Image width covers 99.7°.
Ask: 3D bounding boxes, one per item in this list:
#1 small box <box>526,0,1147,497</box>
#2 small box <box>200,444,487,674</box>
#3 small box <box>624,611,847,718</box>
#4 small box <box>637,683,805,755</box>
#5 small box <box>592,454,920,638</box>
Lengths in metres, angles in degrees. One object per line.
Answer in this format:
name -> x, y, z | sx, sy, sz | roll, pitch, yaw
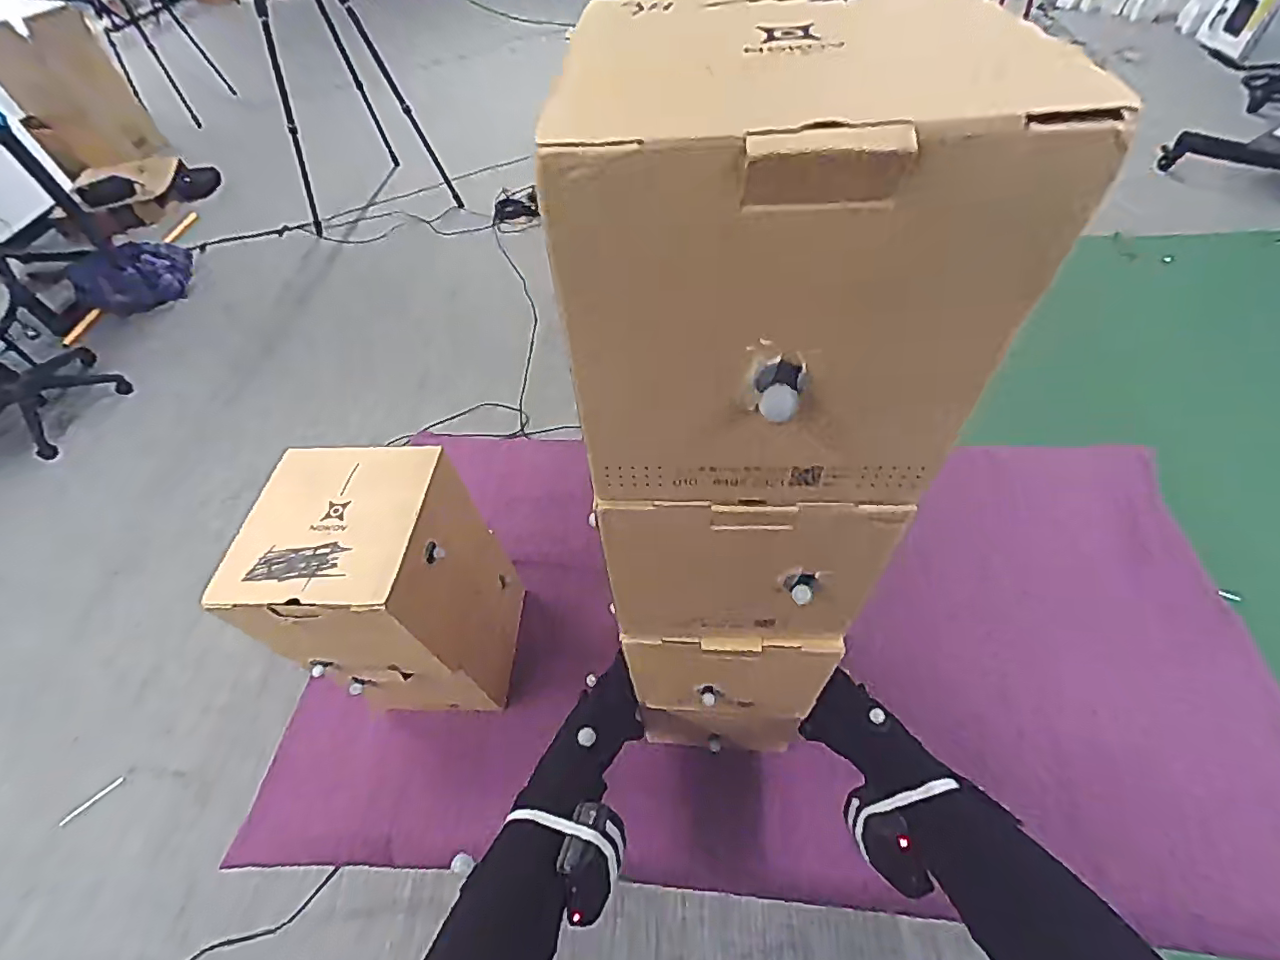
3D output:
small box -> 0.058, -0.105, 0.256 | 0.168, 0.176, 0.179 | 1, 52, 4
small box -> -0.272, 0.084, 0.551 | 0.168, 0.176, 0.179 | 3, 54, 5
small box -> 0.080, 0.105, 0.507 | 0.168, 0.176, 0.179 | 1, 53, 6
small box -> 0.092, 0.205, 0.636 | 0.168, 0.176, 0.179 | 1, 53, 8
small box -> 0.066, 0.000, 0.382 | 0.168, 0.176, 0.179 | 1, 52, 4
